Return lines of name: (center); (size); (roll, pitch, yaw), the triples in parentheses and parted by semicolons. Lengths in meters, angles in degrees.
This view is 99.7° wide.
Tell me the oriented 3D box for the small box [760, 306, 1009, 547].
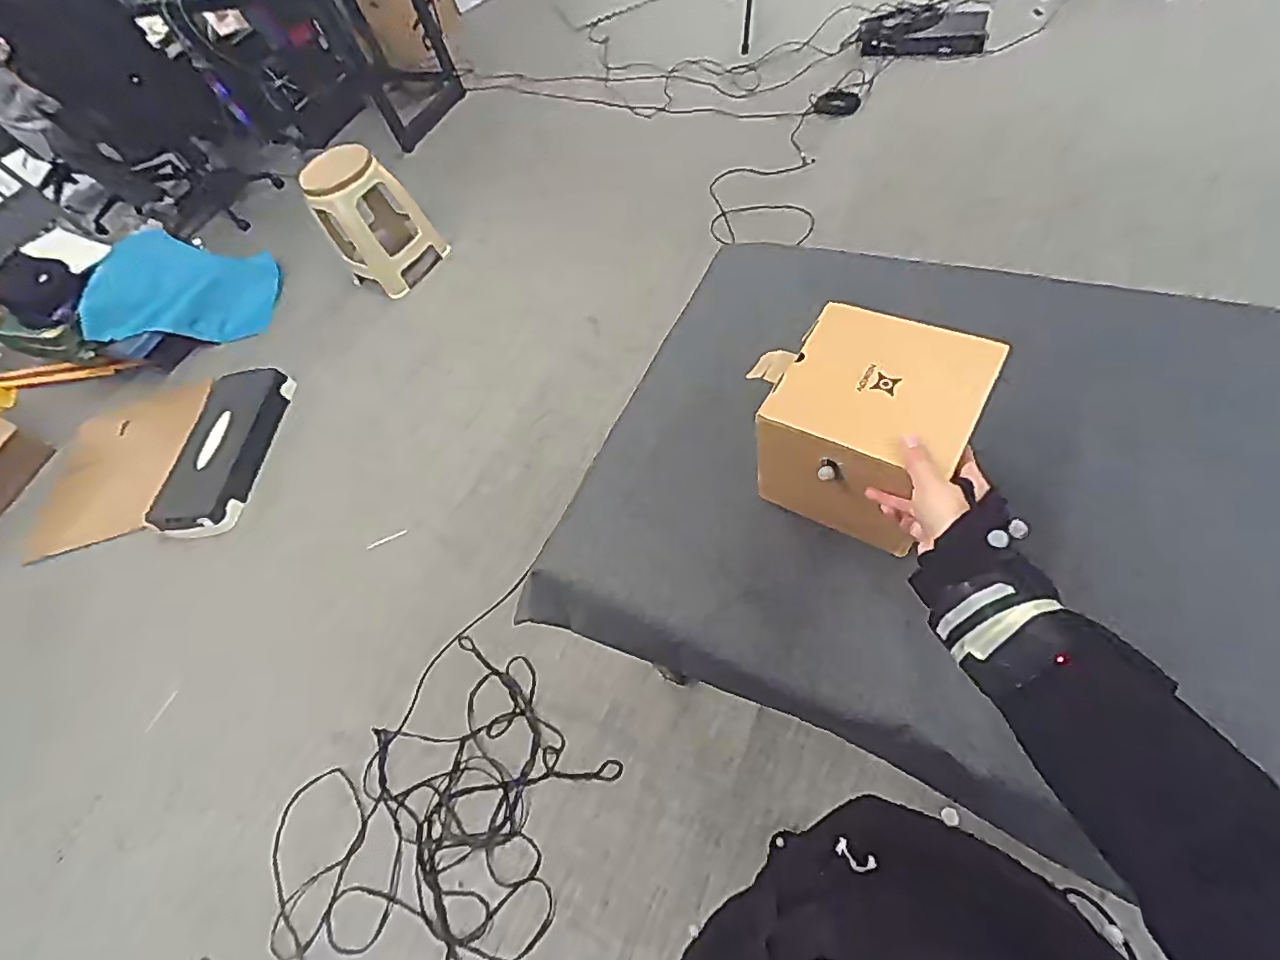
small box: (0.245, -0.049, 0.578); (0.179, 0.176, 0.168); (25, 68, 26)
